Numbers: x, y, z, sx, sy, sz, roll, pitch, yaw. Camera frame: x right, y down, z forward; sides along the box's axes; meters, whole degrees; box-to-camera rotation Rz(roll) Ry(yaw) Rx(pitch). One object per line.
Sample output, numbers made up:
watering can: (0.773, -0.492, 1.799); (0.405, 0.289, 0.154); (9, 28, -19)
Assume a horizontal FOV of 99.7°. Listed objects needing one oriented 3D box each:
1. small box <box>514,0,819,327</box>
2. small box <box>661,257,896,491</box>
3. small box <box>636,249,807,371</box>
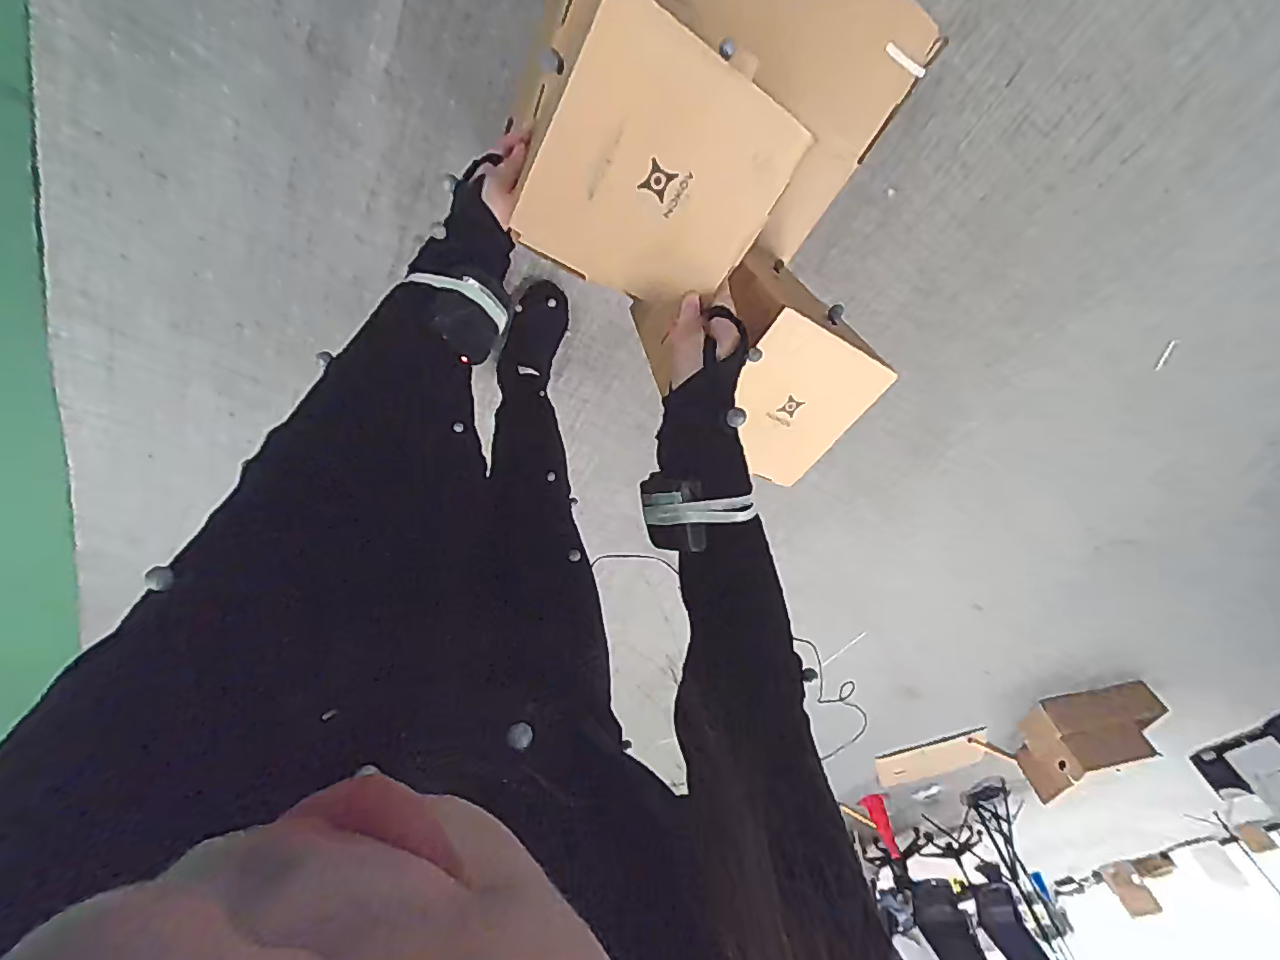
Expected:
small box: (0.009, -0.268, 0.459); (0.179, 0.176, 0.168); (21, 124, -26)
small box: (0.141, -0.123, 0.620); (0.168, 0.176, 0.179); (20, 125, -27)
small box: (0.114, -0.228, 0.743); (0.179, 0.176, 0.168); (20, 124, -26)
